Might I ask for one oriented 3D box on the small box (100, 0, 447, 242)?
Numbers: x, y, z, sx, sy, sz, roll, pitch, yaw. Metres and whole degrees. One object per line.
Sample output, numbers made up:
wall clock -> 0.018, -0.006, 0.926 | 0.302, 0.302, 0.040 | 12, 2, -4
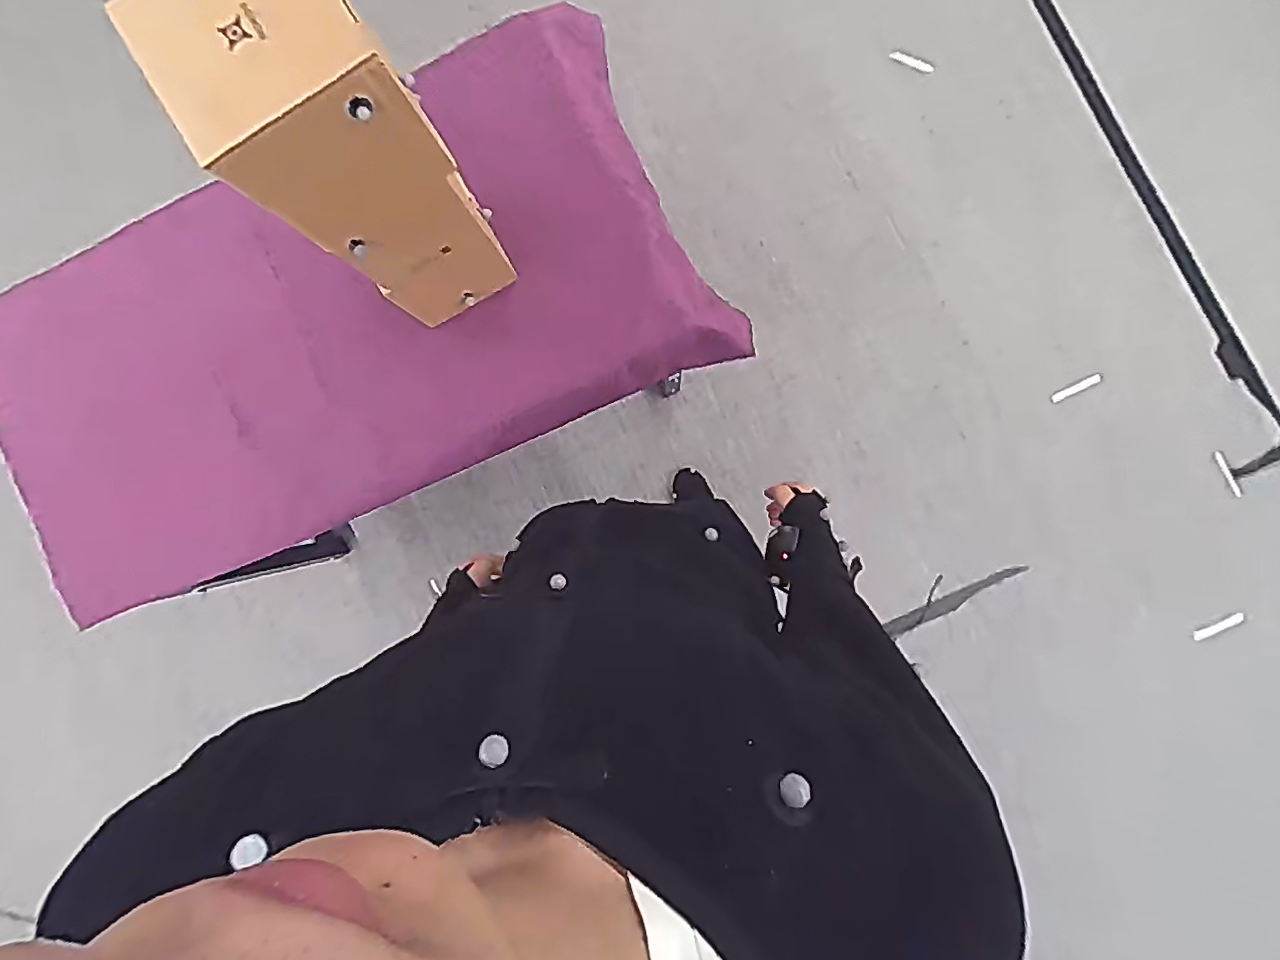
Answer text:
small box -> -0.320, -0.365, 0.511 | 0.179, 0.176, 0.168 | -32, 88, 2

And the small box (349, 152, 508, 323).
small box -> -0.323, -0.373, 0.839 | 0.179, 0.176, 0.168 | -29, 88, 1
